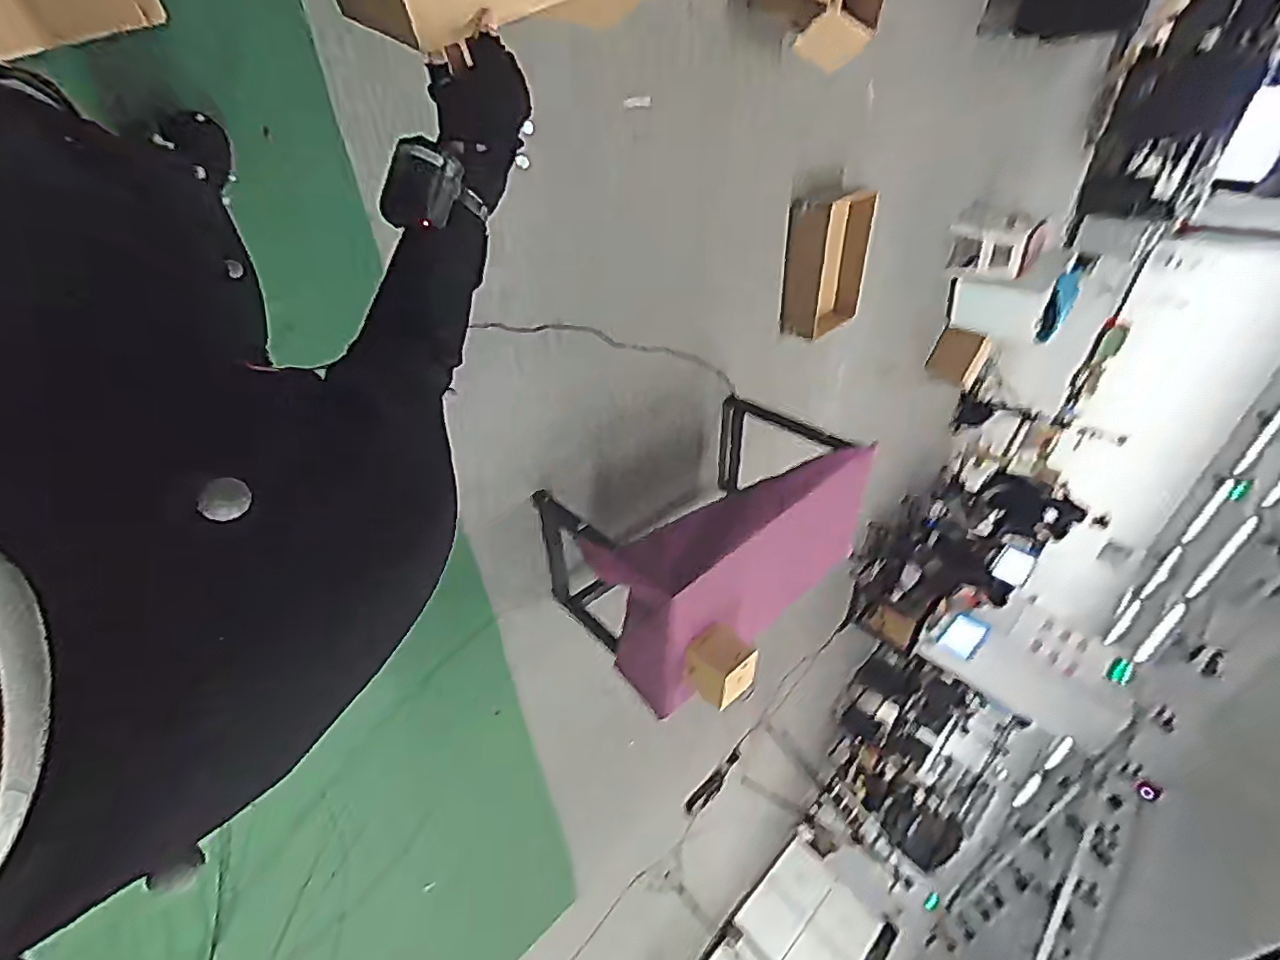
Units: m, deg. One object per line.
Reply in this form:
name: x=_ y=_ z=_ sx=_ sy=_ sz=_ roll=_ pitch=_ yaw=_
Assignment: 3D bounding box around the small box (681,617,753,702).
small box: x=0.255 y=0.601 z=1.830 sx=0.168 sy=0.176 sz=0.179 roll=-26 pitch=133 yaw=-37
